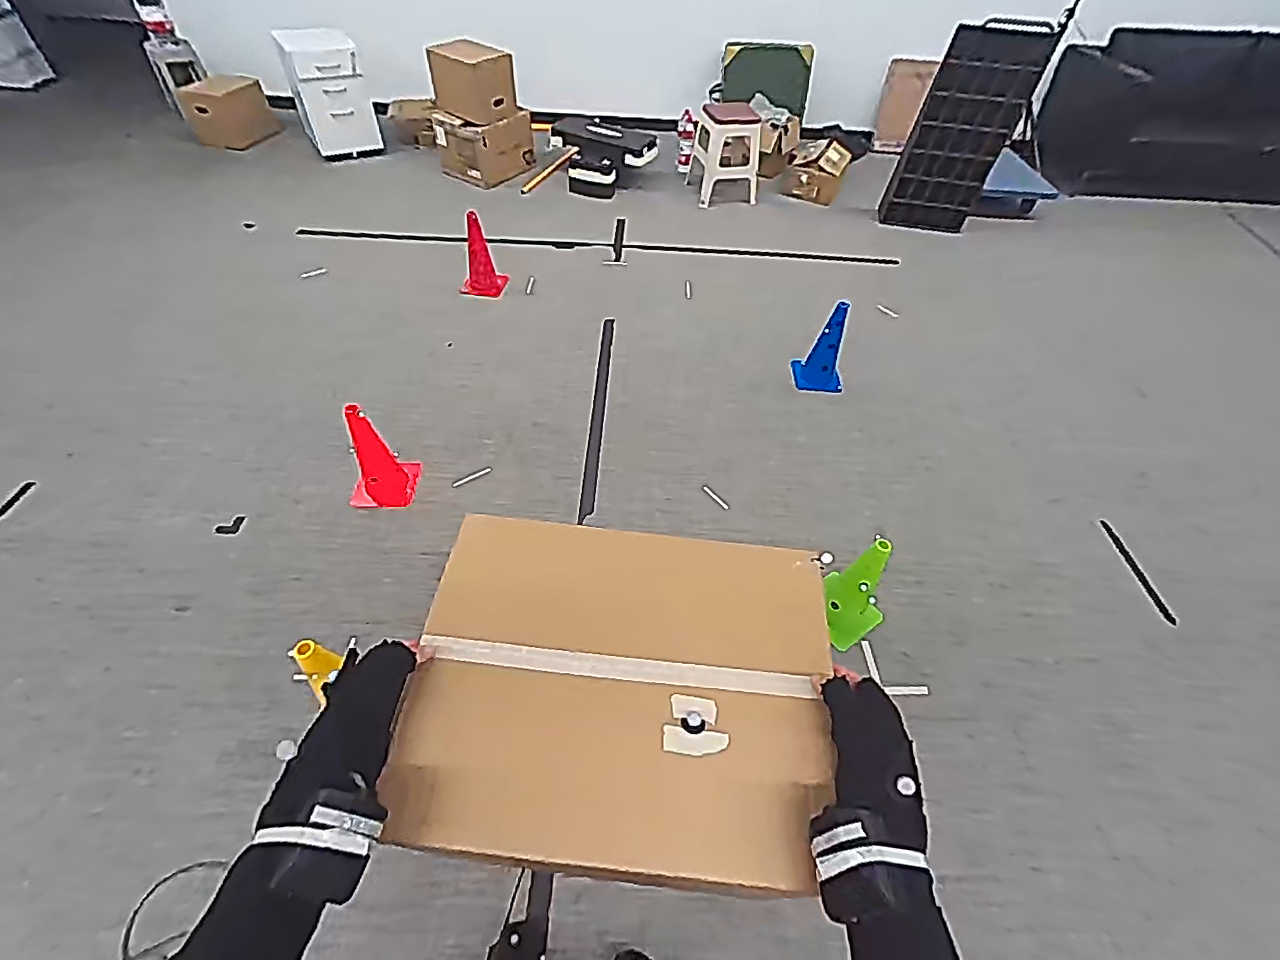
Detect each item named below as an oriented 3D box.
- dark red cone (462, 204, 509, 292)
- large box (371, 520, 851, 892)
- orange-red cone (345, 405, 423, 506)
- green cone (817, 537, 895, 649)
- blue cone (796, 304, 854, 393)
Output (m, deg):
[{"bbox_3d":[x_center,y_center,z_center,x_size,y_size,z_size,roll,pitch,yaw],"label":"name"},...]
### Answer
[{"bbox_3d":[-0.754,-1.098,2.559,0.201,0.394,0.202,8,50,2],"label":"dark red cone"},{"bbox_3d":[-0.022,0.276,0.645,0.408,0.320,0.320,7,52,1],"label":"large box"},{"bbox_3d":[-0.858,-0.097,1.734,0.198,0.360,0.199,0,51,-2],"label":"orange-red cone"},{"bbox_3d":[0.615,0.279,1.503,0.202,0.368,0.200,-27,57,-26],"label":"green cone"},{"bbox_3d":[0.794,-0.555,2.246,0.192,0.380,0.193,6,50,0],"label":"blue cone"}]
